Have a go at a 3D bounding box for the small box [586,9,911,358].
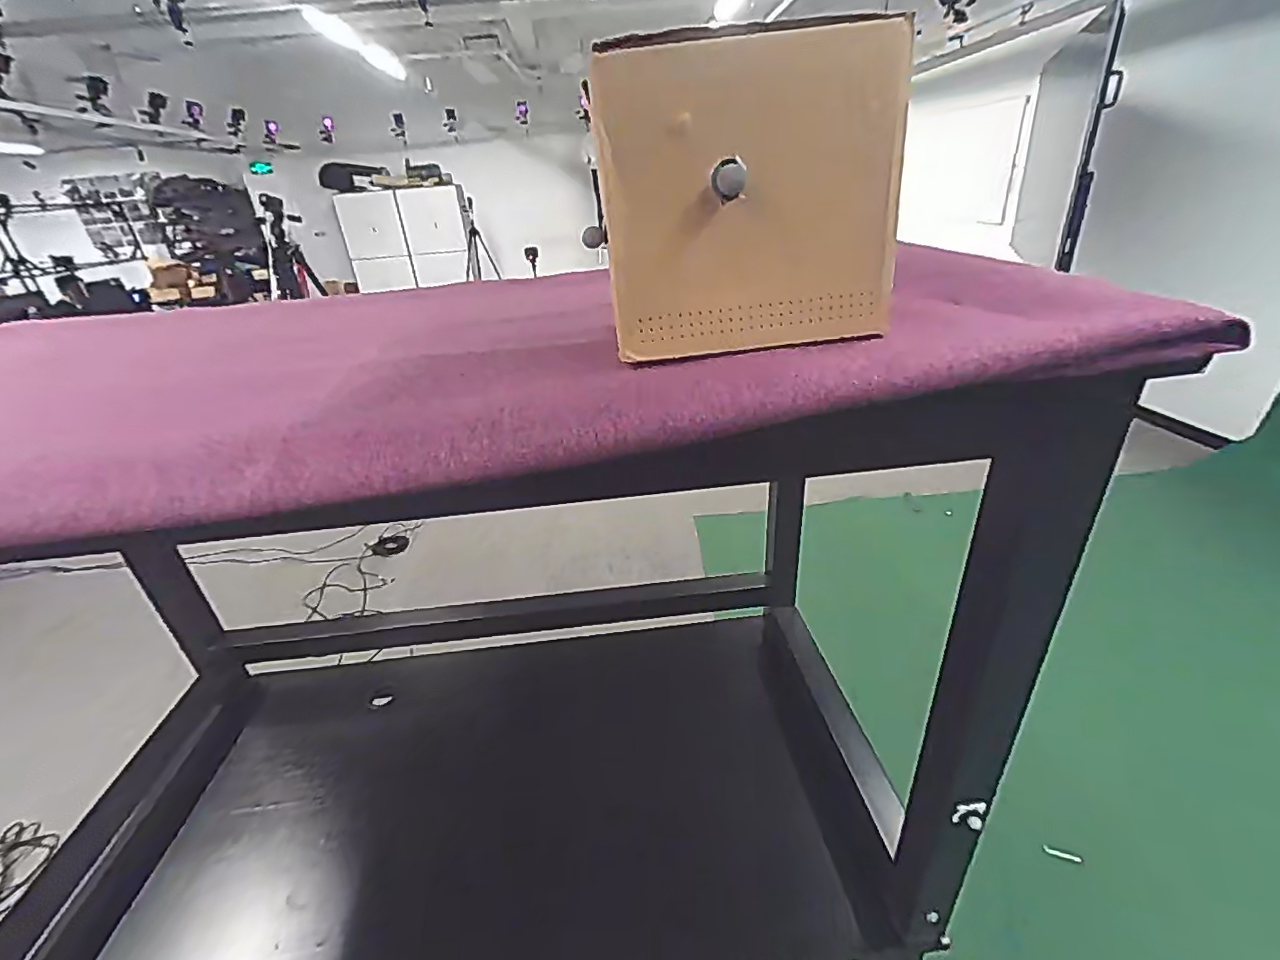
[{"bbox_3d":[0.063,-0.190,0.385,0.179,0.176,0.168,-7,26,-1],"label":"small box"}]
